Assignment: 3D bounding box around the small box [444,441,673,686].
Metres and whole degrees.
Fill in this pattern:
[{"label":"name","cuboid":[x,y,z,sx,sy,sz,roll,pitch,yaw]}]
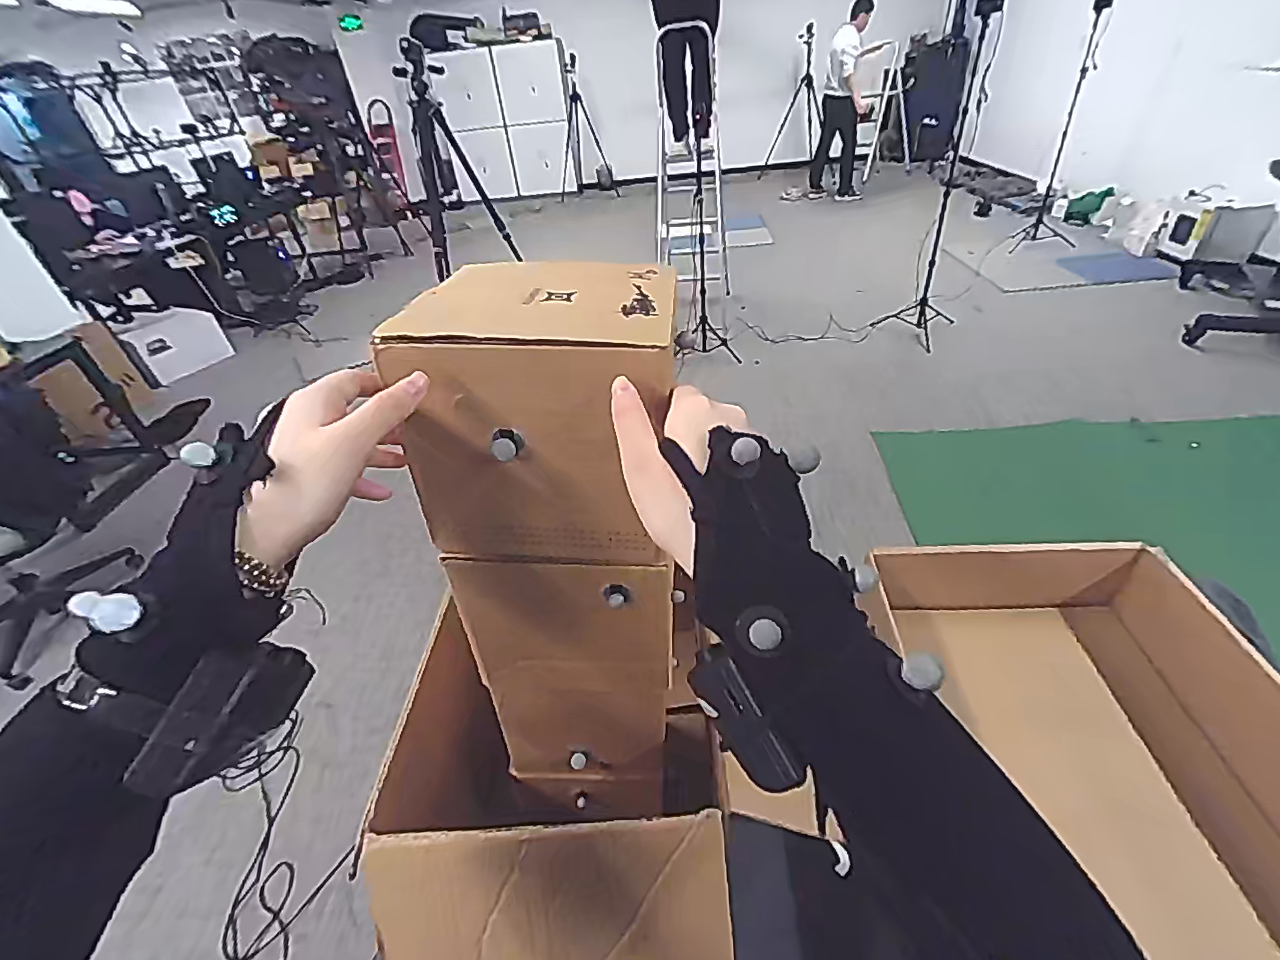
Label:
[{"label":"small box","cuboid":[-0.059,0.077,0.517,0.179,0.176,0.168,2,37,2]}]
